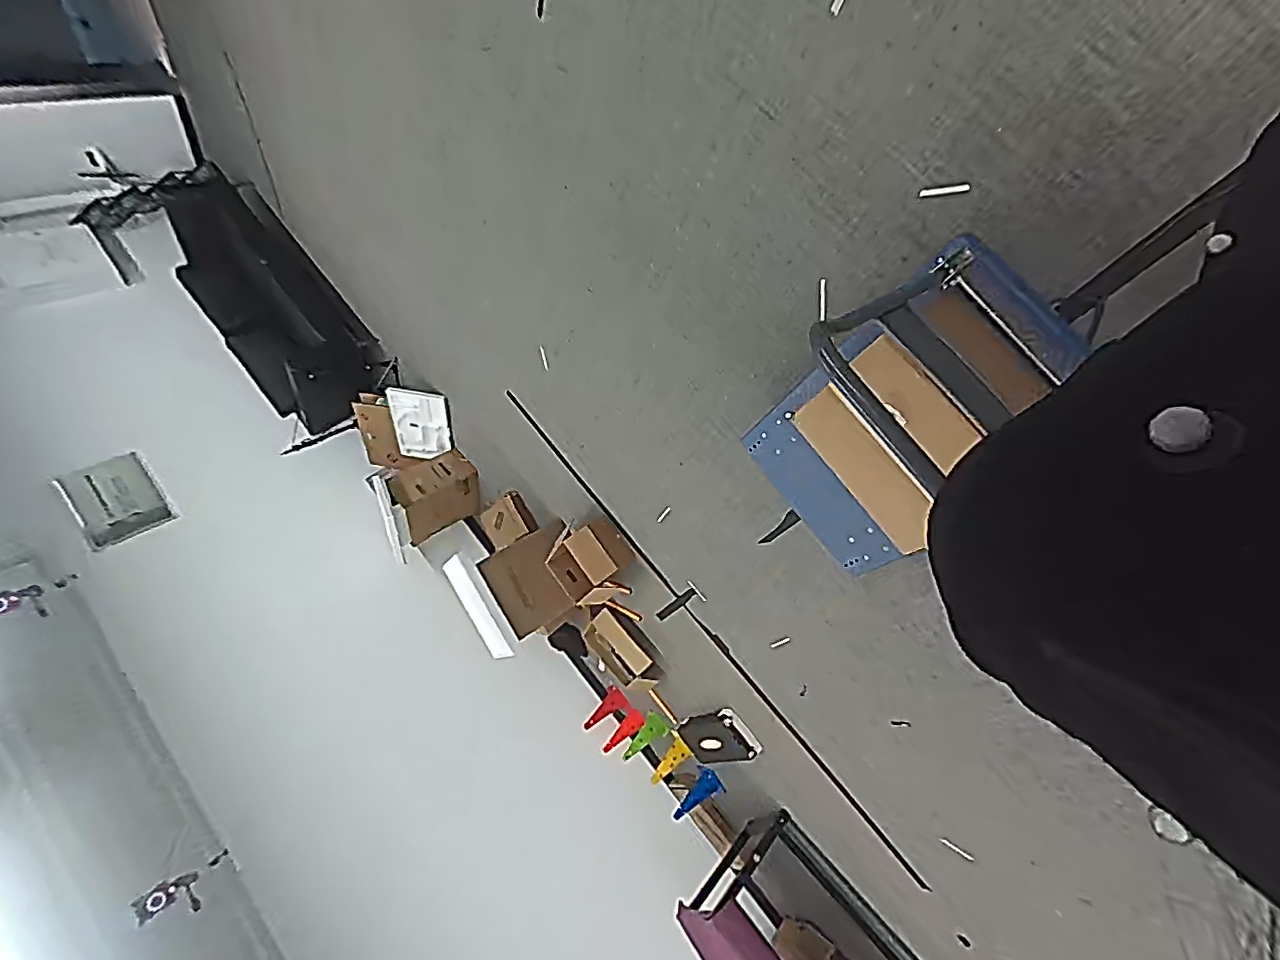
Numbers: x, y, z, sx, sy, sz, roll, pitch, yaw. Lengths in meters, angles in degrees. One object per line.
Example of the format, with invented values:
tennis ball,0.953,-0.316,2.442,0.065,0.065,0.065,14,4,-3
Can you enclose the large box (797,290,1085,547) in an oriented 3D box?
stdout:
large box,0.645,-0.134,1.185,0.408,0.320,0.320,53,145,9
